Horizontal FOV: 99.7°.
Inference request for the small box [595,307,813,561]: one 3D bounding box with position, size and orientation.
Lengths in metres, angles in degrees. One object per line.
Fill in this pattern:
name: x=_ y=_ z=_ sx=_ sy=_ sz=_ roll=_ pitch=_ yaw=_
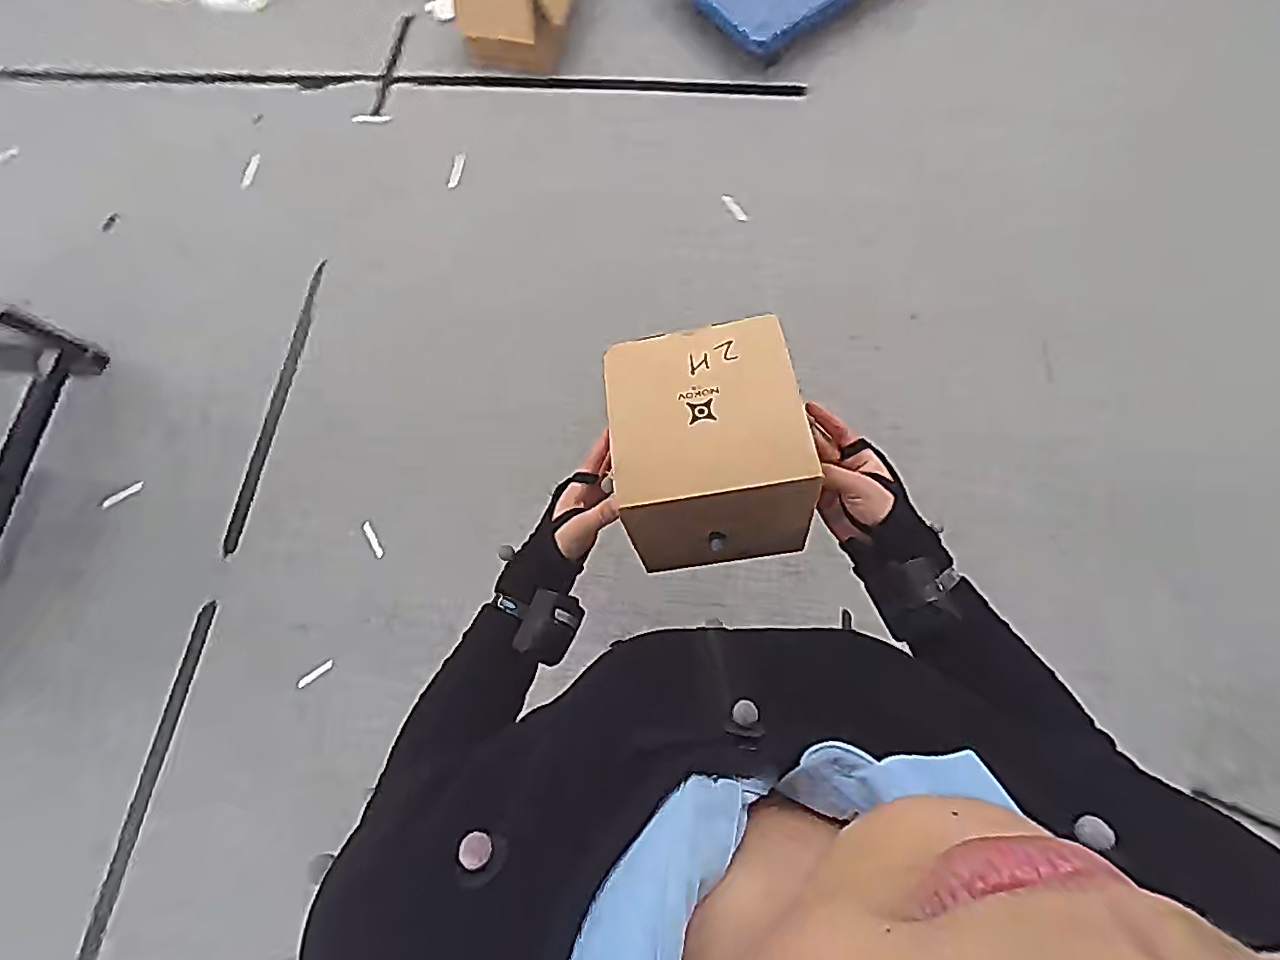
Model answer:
small box: x=0.060 y=-0.031 z=0.524 sx=0.168 sy=0.176 sz=0.179 roll=-10 pitch=61 yaw=6
